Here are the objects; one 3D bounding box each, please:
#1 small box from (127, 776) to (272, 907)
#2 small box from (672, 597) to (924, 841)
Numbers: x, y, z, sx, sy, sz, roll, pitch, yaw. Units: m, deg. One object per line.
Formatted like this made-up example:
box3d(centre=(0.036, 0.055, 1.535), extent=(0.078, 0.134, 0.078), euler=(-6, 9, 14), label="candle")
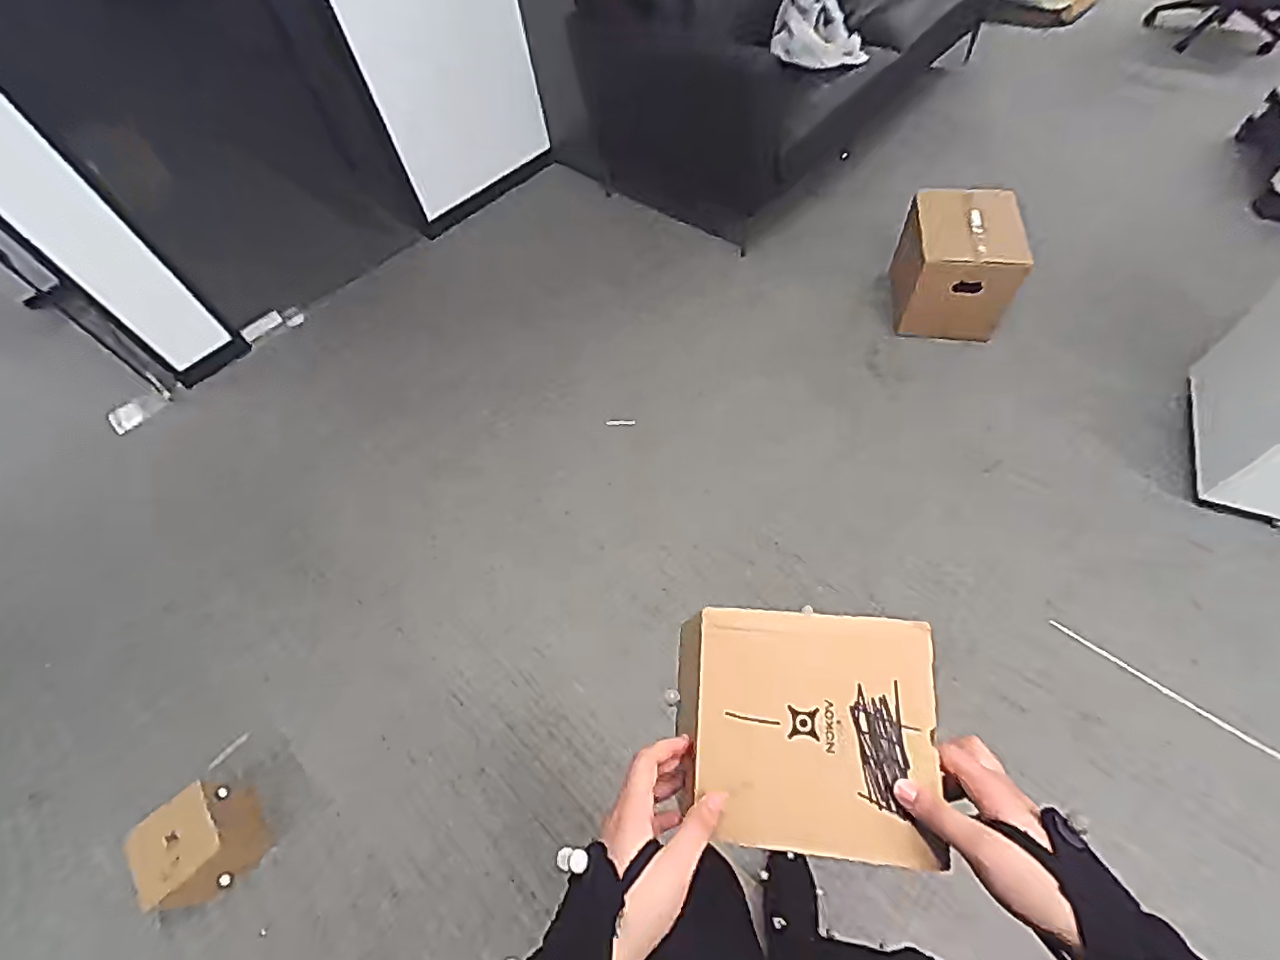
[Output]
box3d(centre=(-0.978, 0.804, 1.210), extent=(0.168, 0.176, 0.179), euler=(-39, 61, -17), label="small box")
box3d(centre=(0.127, 0.208, 0.498), extent=(0.179, 0.176, 0.168), euler=(5, 70, 1), label="small box")
